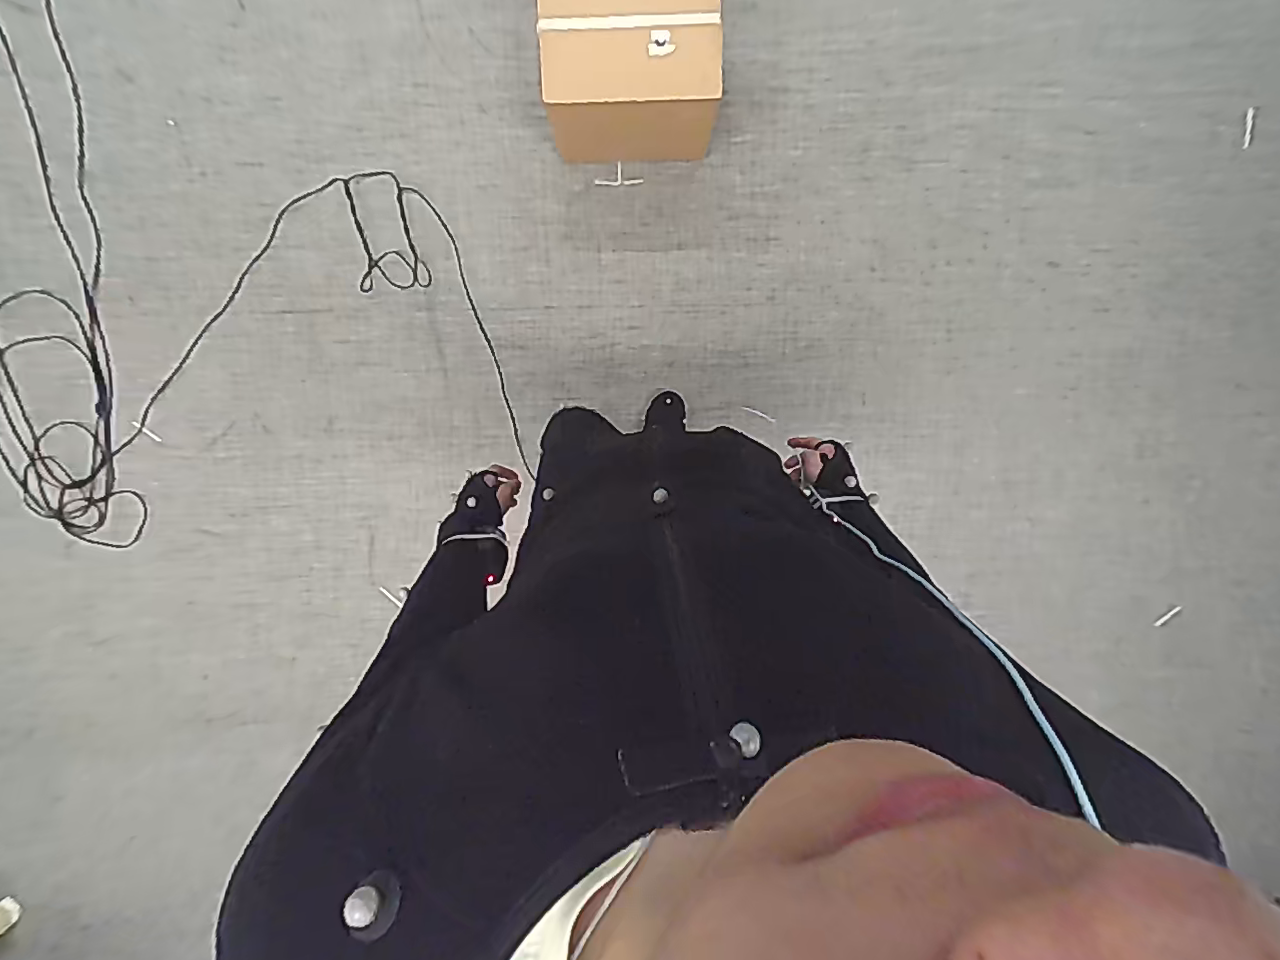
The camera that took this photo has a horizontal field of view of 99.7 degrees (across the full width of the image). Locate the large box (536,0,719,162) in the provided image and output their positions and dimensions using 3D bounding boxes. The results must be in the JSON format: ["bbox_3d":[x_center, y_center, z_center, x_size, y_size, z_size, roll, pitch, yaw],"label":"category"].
[{"bbox_3d":[-0.031,-1.030,1.344,0.408,0.320,0.320,-3,98,0],"label":"large box"}]
